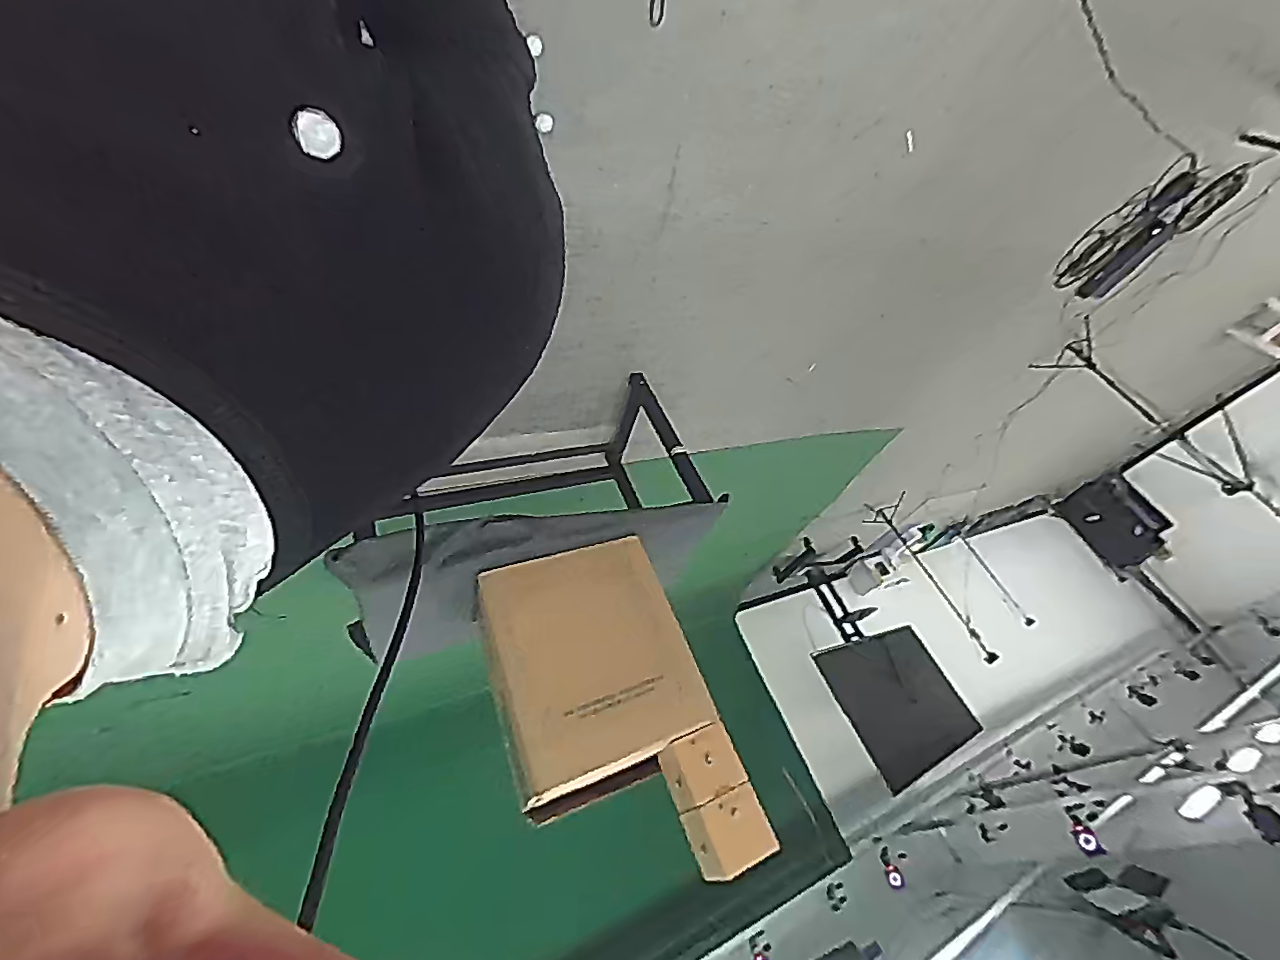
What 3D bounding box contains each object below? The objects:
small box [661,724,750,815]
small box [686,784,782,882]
[{"bbox_3d":[0.177,0.815,1.533,0.168,0.176,0.179,-13,148,-23],"label":"small box"},{"bbox_3d":[0.242,0.944,1.453,0.168,0.176,0.179,-13,148,-24],"label":"small box"}]
